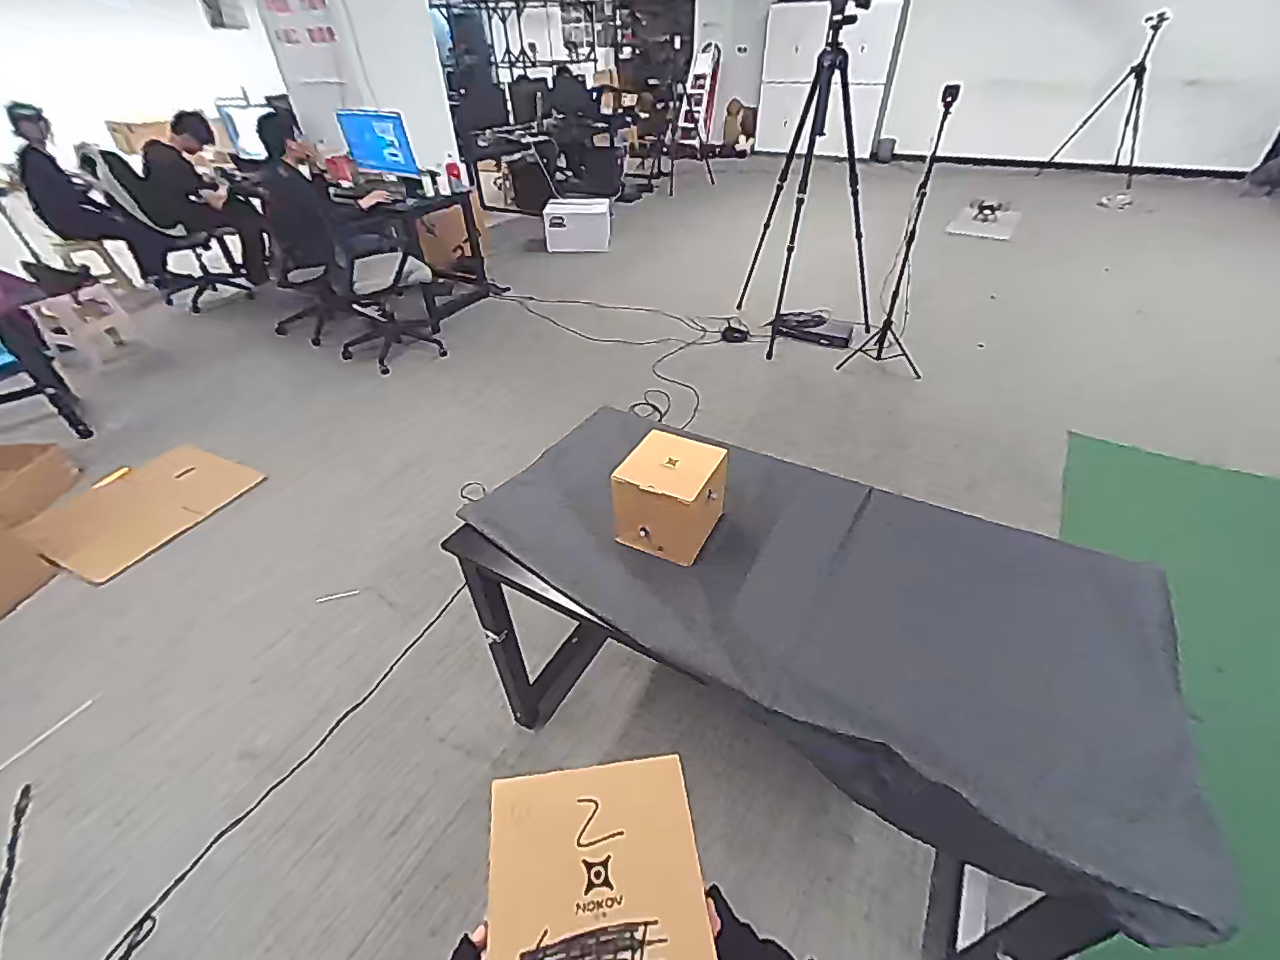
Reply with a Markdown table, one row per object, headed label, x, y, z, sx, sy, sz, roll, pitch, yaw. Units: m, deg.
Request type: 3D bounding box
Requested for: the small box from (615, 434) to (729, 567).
| label | x | y | z | sx | sy | sz | roll | pitch | yaw |
| --- | --- | --- | --- | --- | --- | --- | --- | --- | --- |
| small box | 0.062 | 0.039 | 1.077 | 0.168 | 0.176 | 0.179 | 18 | 44 | 22 |
